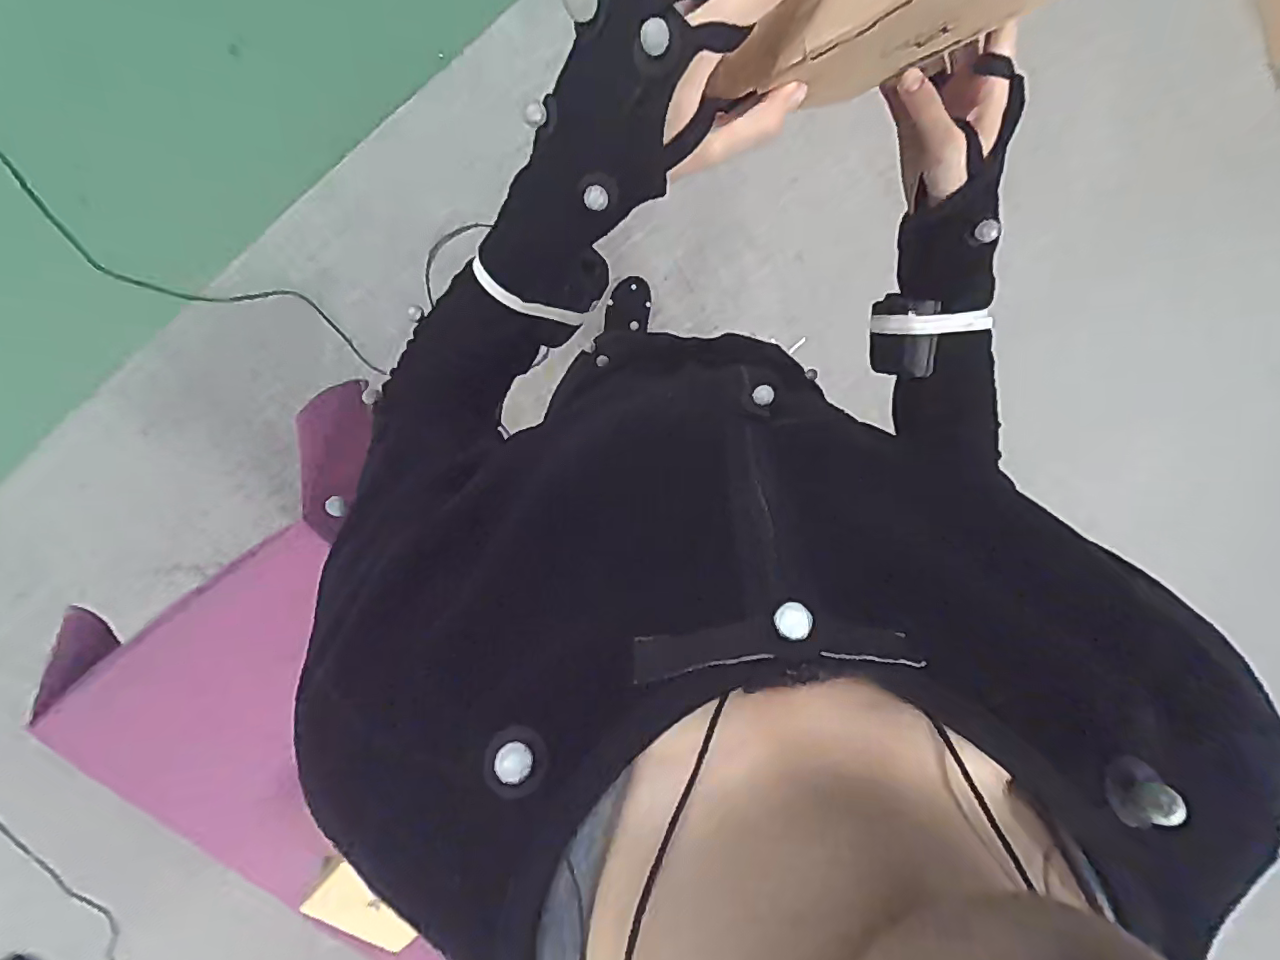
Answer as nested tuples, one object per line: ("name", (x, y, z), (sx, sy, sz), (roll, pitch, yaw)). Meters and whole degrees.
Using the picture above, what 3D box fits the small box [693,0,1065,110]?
("small box", (0.119, -0.300, 0.247), (0.179, 0.168, 0.176), (-34, 116, -37))

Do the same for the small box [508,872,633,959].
("small box", (-0.126, 0.855, 0.967), (0.179, 0.176, 0.168), (-41, 105, 11))
